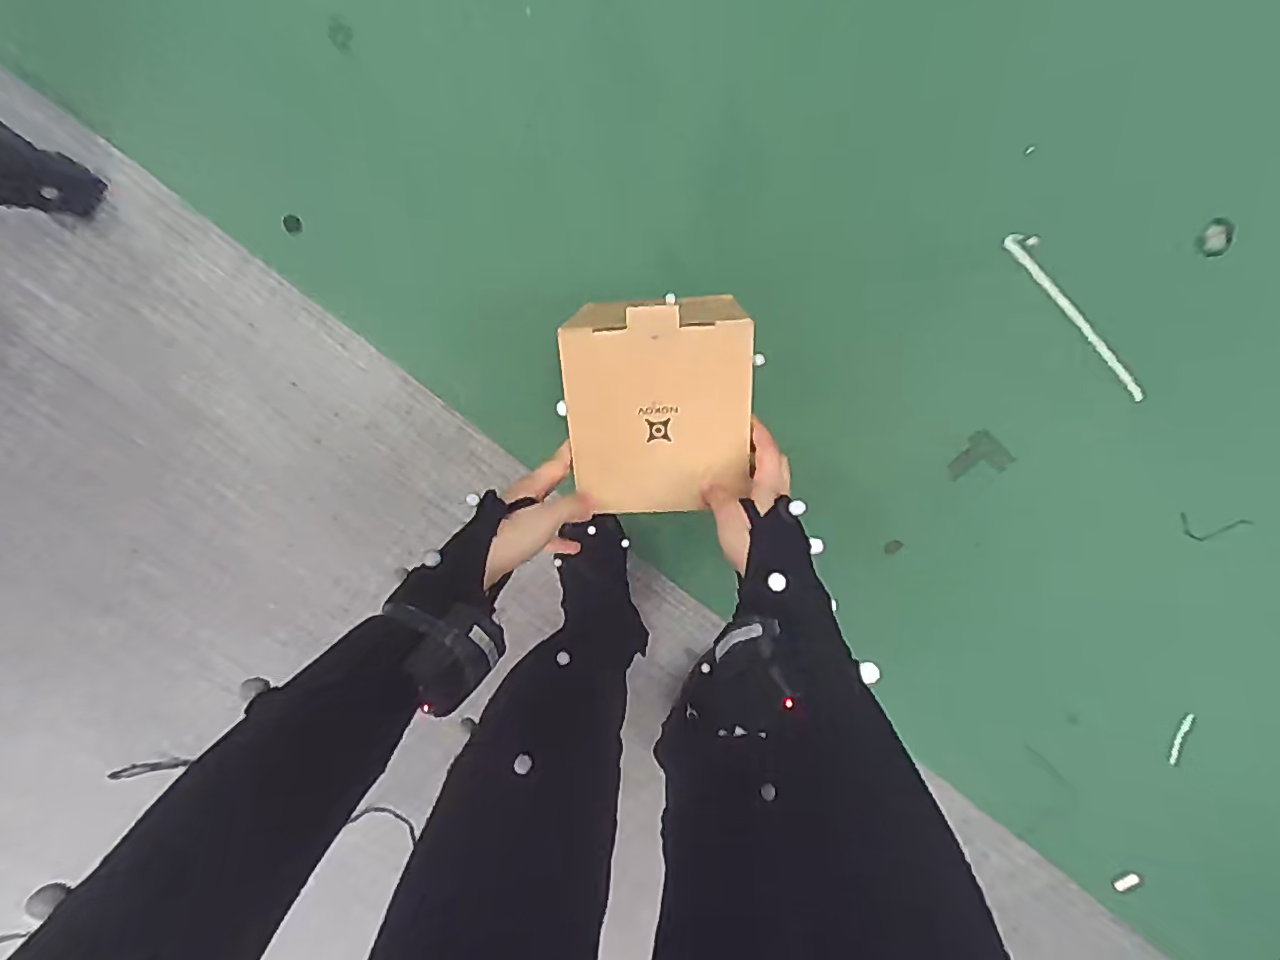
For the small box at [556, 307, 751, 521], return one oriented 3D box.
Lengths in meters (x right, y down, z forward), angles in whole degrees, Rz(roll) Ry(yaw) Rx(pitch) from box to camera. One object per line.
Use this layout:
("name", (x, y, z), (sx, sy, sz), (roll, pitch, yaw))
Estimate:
("small box", (0.018, -0.074, 0.554), (0.168, 0.176, 0.179), (-2, 114, 3))
